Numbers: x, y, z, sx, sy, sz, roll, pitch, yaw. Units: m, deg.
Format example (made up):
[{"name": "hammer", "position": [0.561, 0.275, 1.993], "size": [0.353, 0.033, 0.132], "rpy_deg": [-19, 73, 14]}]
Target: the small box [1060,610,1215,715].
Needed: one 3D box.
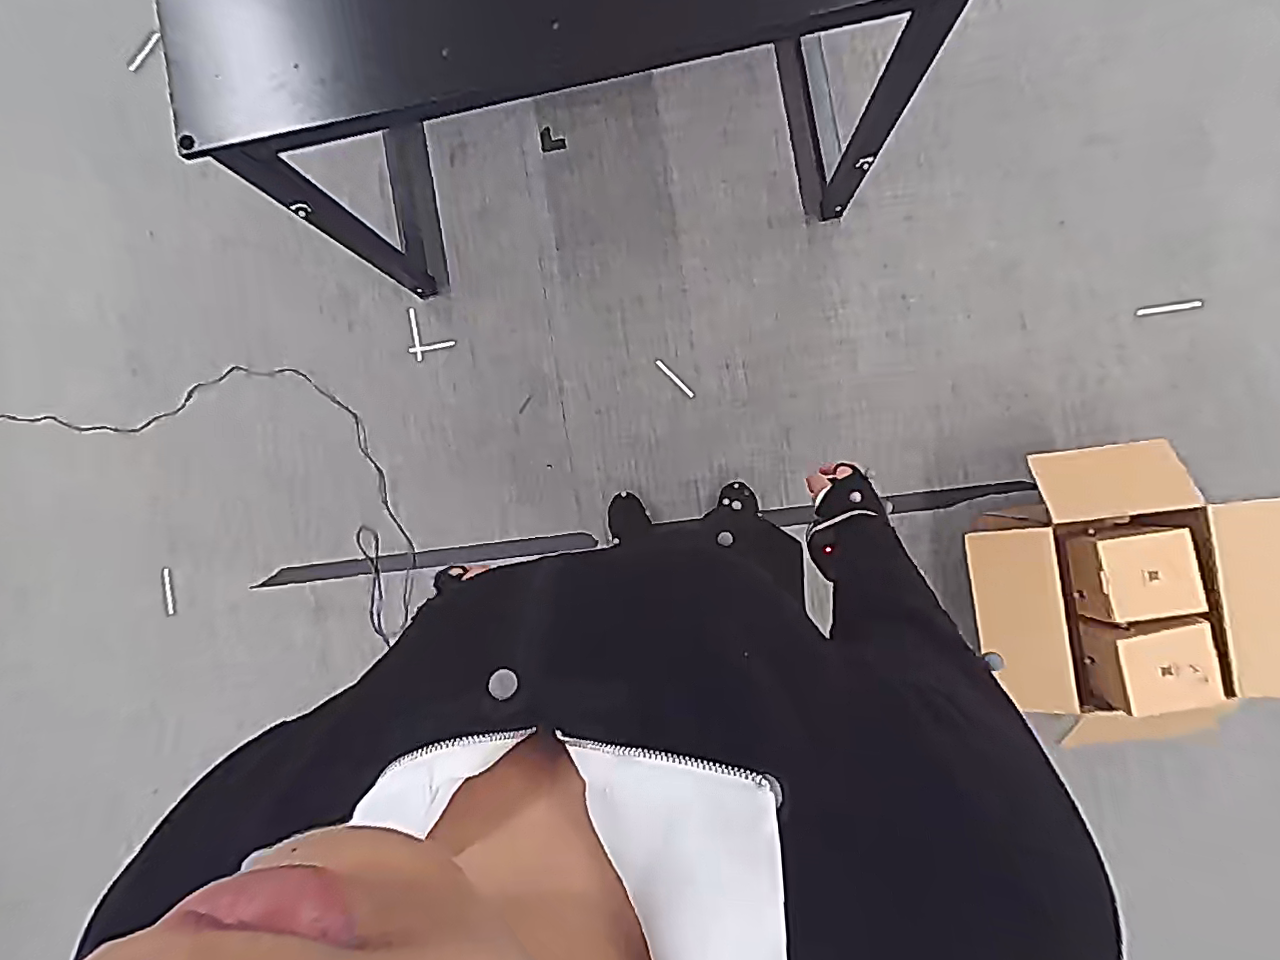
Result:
[{"name": "small box", "position": [1.040, 0.368, 1.152], "size": [0.179, 0.176, 0.168], "rpy_deg": [-14, 93, 5]}]

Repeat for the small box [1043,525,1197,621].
[{"name": "small box", "position": [1.005, 0.192, 1.154], "size": [0.179, 0.176, 0.168], "rpy_deg": [-11, 87, 3]}]
